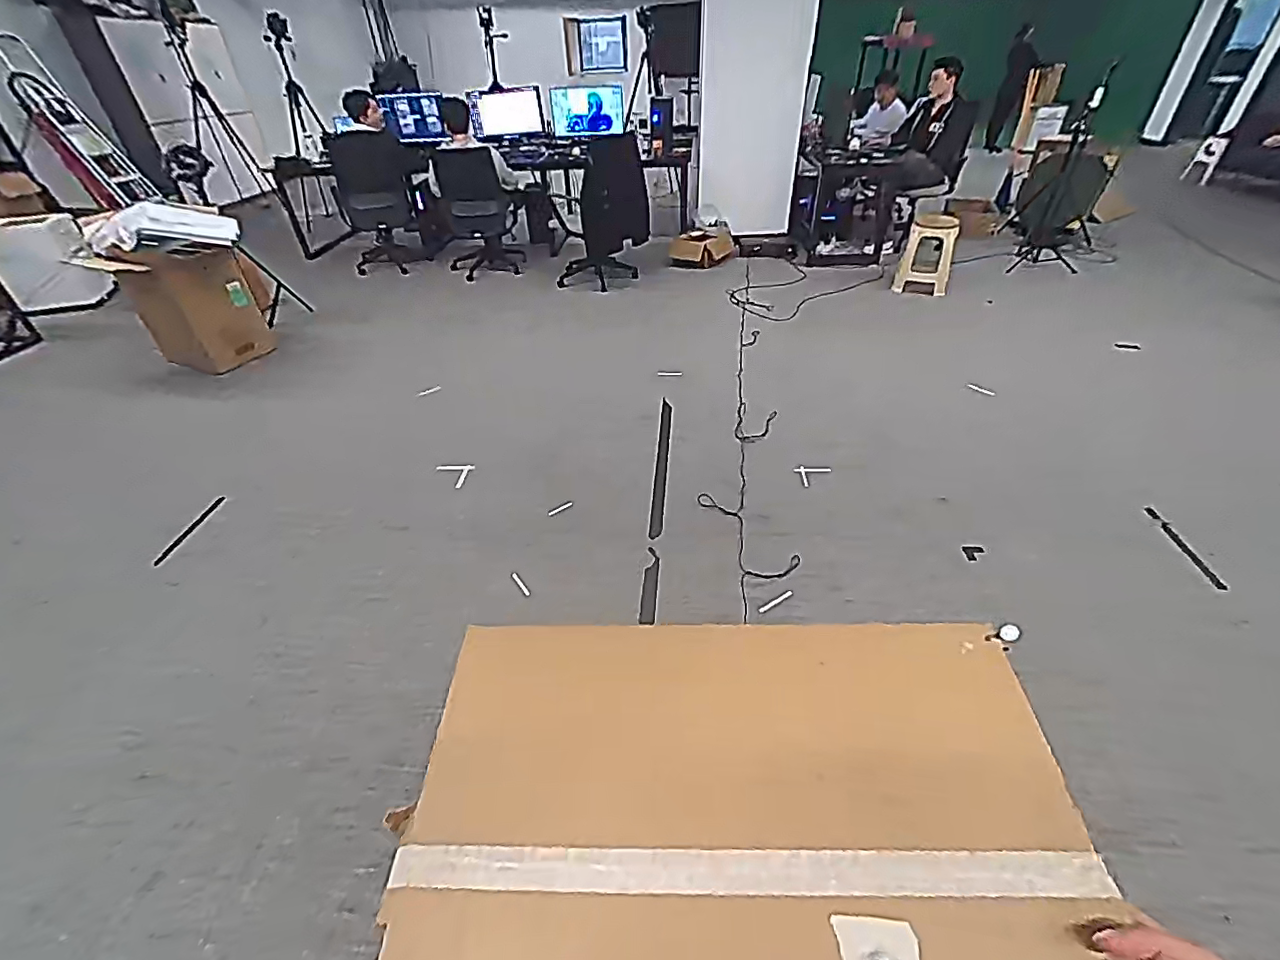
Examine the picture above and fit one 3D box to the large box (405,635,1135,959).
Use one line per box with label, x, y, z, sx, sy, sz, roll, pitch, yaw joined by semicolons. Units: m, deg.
large box;0.071;0.339;0.428;0.408;0.320;0.320;-1;48;2
